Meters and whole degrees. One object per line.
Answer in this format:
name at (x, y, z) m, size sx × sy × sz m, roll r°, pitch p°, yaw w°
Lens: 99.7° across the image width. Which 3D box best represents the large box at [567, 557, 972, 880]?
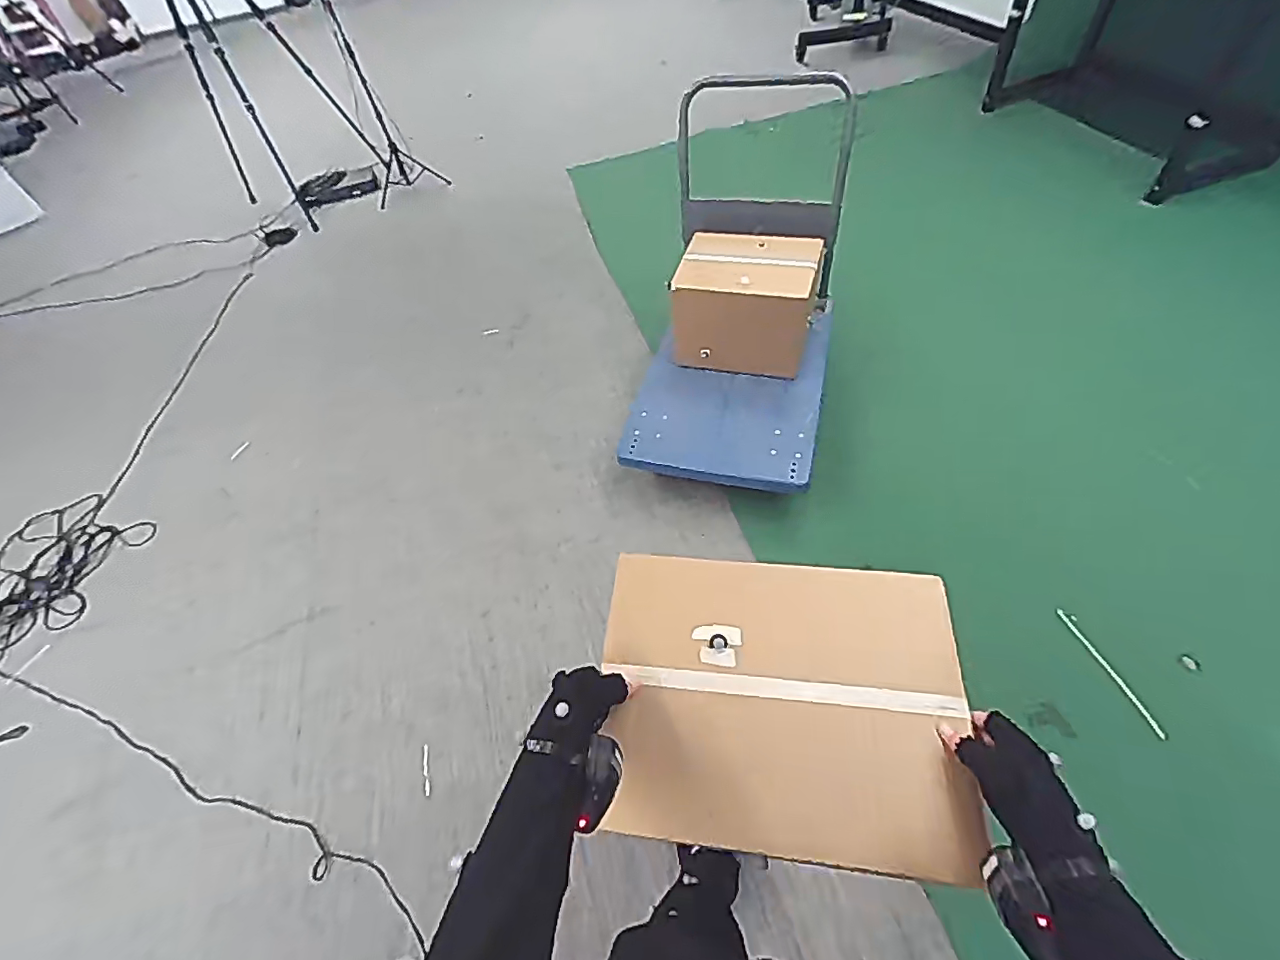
large box at (0.155, 0.315, 0.739) m, size 0.408 × 0.320 × 0.320 m, roll 2°, pitch 58°, yaw 10°
